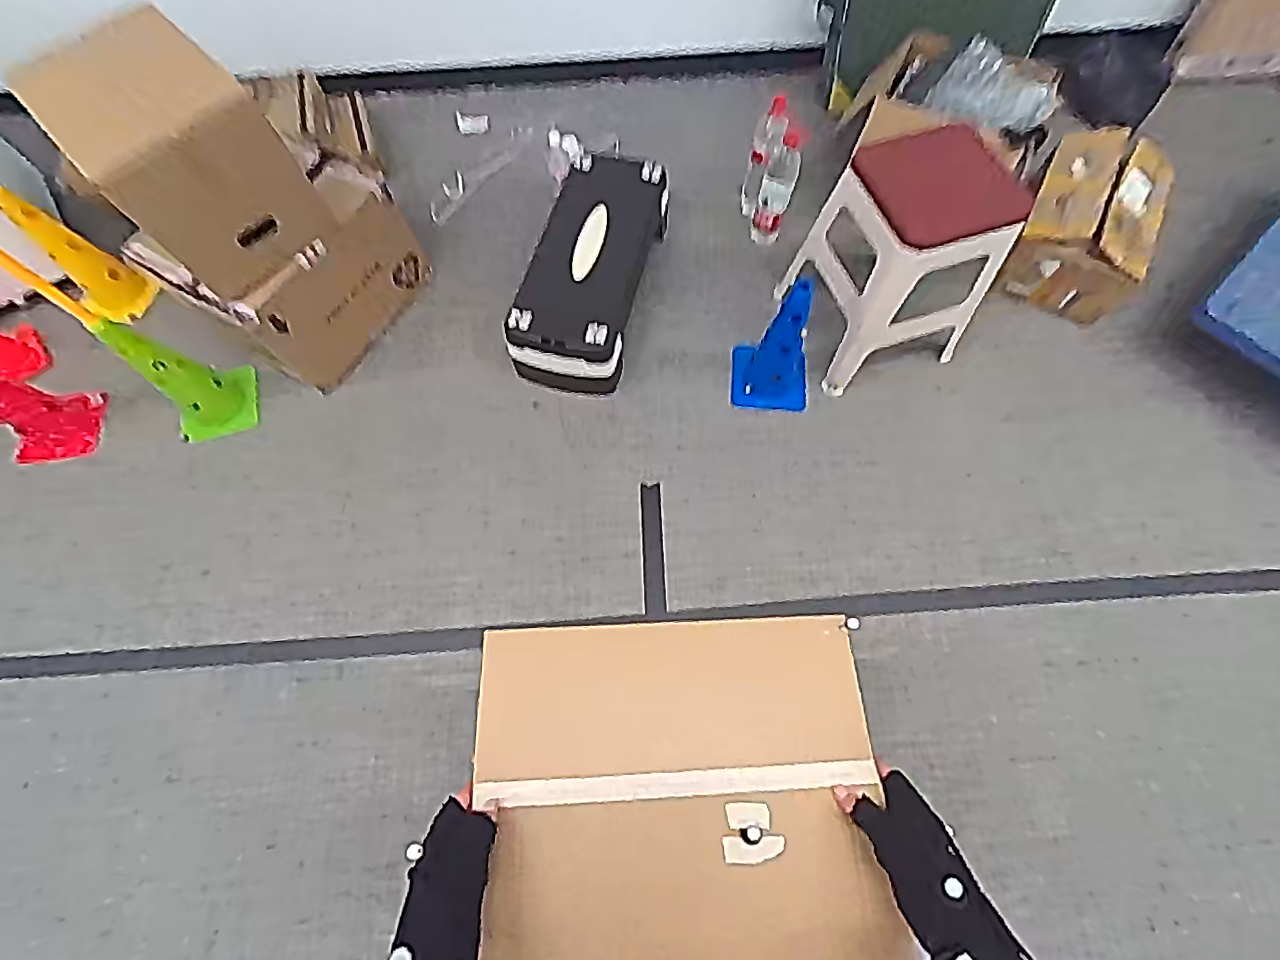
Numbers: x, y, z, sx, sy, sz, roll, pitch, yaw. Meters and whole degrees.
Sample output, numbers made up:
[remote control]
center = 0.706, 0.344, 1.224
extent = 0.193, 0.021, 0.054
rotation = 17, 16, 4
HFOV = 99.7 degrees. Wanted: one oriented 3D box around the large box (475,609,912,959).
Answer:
[large box]
center = 0.036, 0.358, 0.675
extent = 0.408, 0.320, 0.320
rotation = -2, 66, -3
